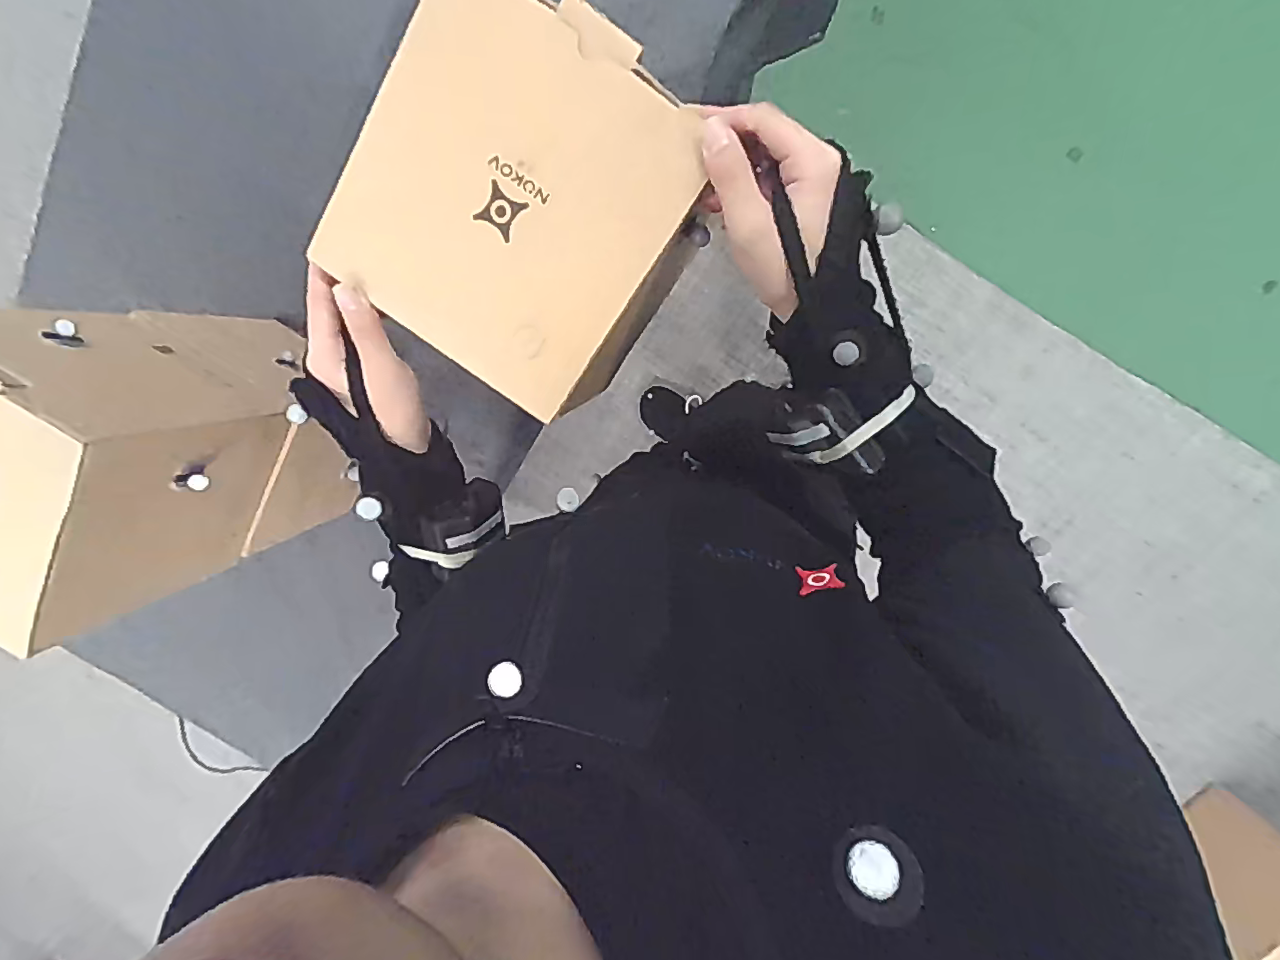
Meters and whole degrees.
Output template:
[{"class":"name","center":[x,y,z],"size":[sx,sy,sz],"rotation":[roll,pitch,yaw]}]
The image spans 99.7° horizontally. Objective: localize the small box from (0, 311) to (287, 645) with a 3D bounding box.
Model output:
[{"class":"small box","center":[-0.420,-0.018,0.419],"size":[0.168,0.176,0.179],"rotation":[31,106,0]}]

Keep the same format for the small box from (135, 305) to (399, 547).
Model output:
[{"class":"small box","center":[-0.400,-0.061,0.574],"size":[0.179,0.176,0.168],"rotation":[32,105,-2]}]
